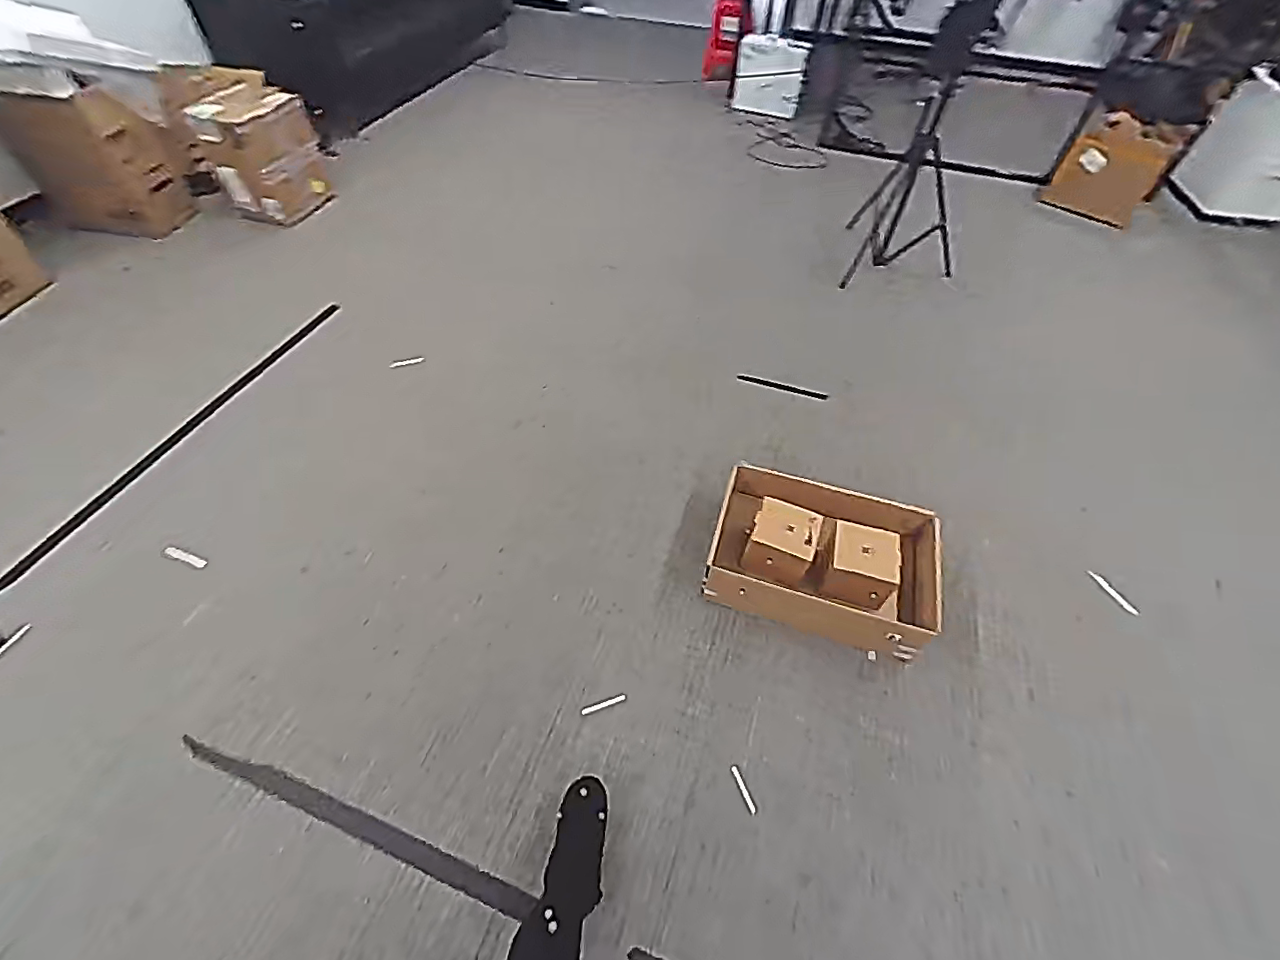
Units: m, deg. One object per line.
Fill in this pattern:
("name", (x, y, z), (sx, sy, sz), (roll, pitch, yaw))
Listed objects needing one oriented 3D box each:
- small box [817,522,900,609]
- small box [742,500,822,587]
("small box", (0.625, 0.251, 1.551), (0.179, 0.176, 0.168), (13, 53, 10))
("small box", (0.412, 0.191, 1.589), (0.179, 0.176, 0.168), (19, 54, 12))
